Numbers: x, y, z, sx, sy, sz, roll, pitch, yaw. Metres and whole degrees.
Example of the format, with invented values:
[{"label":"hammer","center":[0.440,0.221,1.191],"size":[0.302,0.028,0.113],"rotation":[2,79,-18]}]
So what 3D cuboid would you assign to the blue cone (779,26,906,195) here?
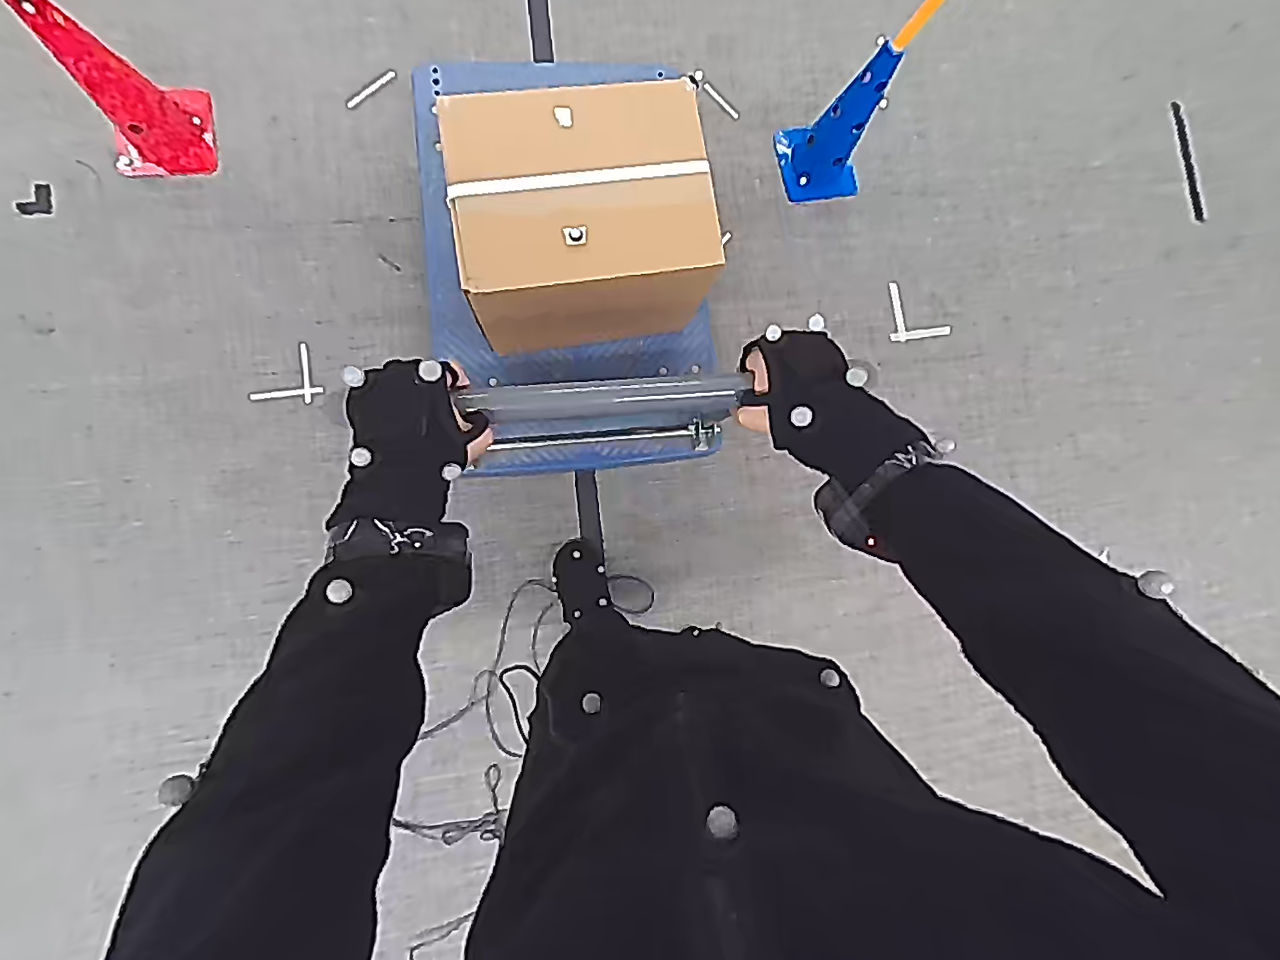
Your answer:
[{"label":"blue cone","center":[0.489,-0.853,1.249],"size":[0.193,0.380,0.192],"rotation":[-10,86,-8]}]
